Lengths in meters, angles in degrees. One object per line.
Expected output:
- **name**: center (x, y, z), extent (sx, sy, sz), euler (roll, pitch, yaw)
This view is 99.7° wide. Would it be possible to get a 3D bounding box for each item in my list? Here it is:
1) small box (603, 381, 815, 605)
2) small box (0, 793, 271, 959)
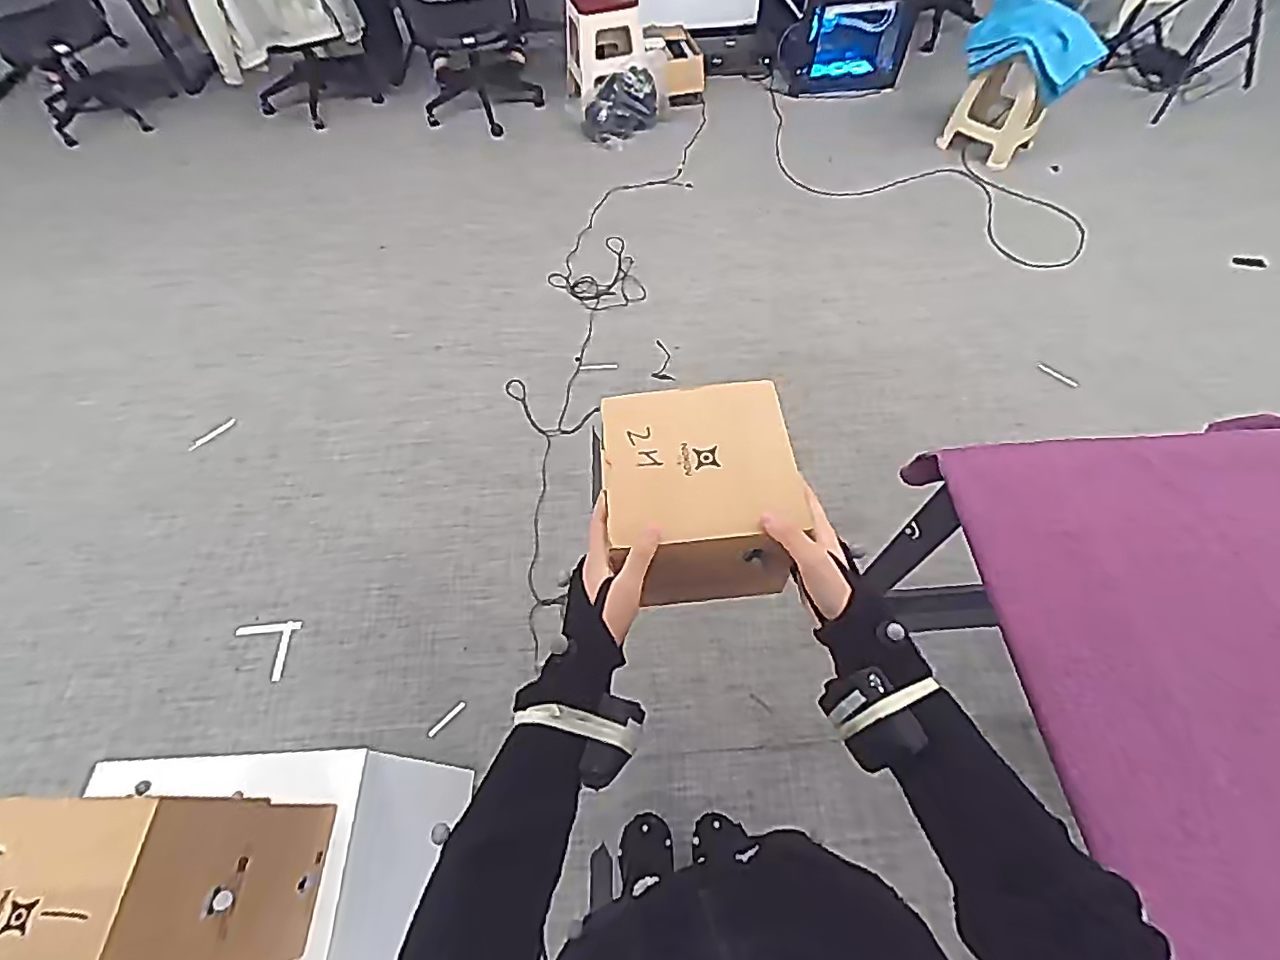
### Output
- **small box**: center (0.060, 0.021, 0.558), extent (0.179, 0.176, 0.168), euler (-6, 59, 1)
- **small box**: center (-0.502, 0.390, 0.505), extent (0.179, 0.176, 0.168), euler (-1, 60, 0)
